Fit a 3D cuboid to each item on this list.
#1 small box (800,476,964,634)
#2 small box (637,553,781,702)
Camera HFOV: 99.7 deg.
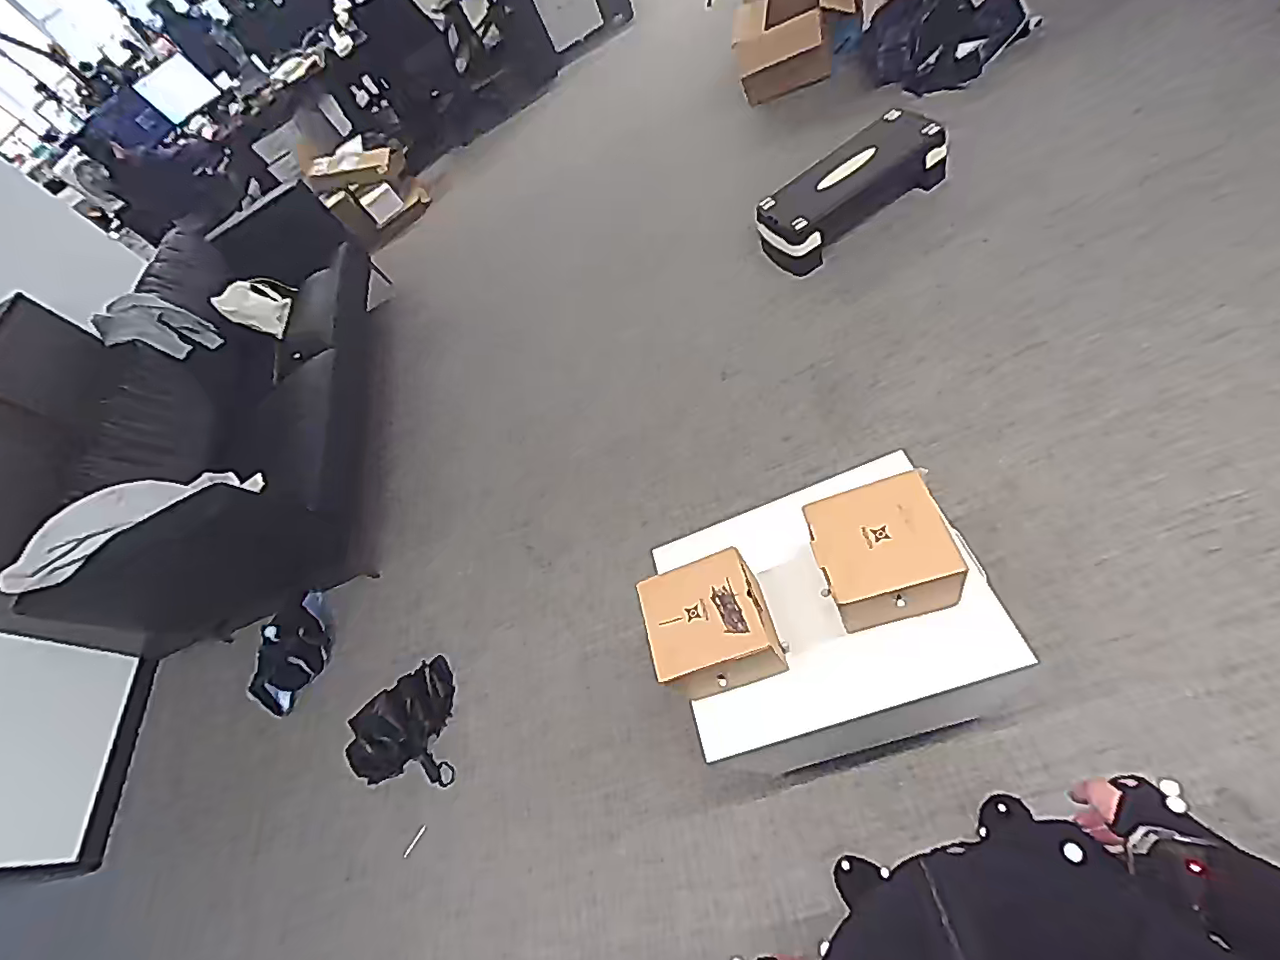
[{"bbox_3d":[0.369,0.125,0.836,0.179,0.176,0.168,-20,56,14],"label":"small box"},{"bbox_3d":[0.118,0.247,0.882,0.179,0.176,0.168,-23,53,12],"label":"small box"}]
